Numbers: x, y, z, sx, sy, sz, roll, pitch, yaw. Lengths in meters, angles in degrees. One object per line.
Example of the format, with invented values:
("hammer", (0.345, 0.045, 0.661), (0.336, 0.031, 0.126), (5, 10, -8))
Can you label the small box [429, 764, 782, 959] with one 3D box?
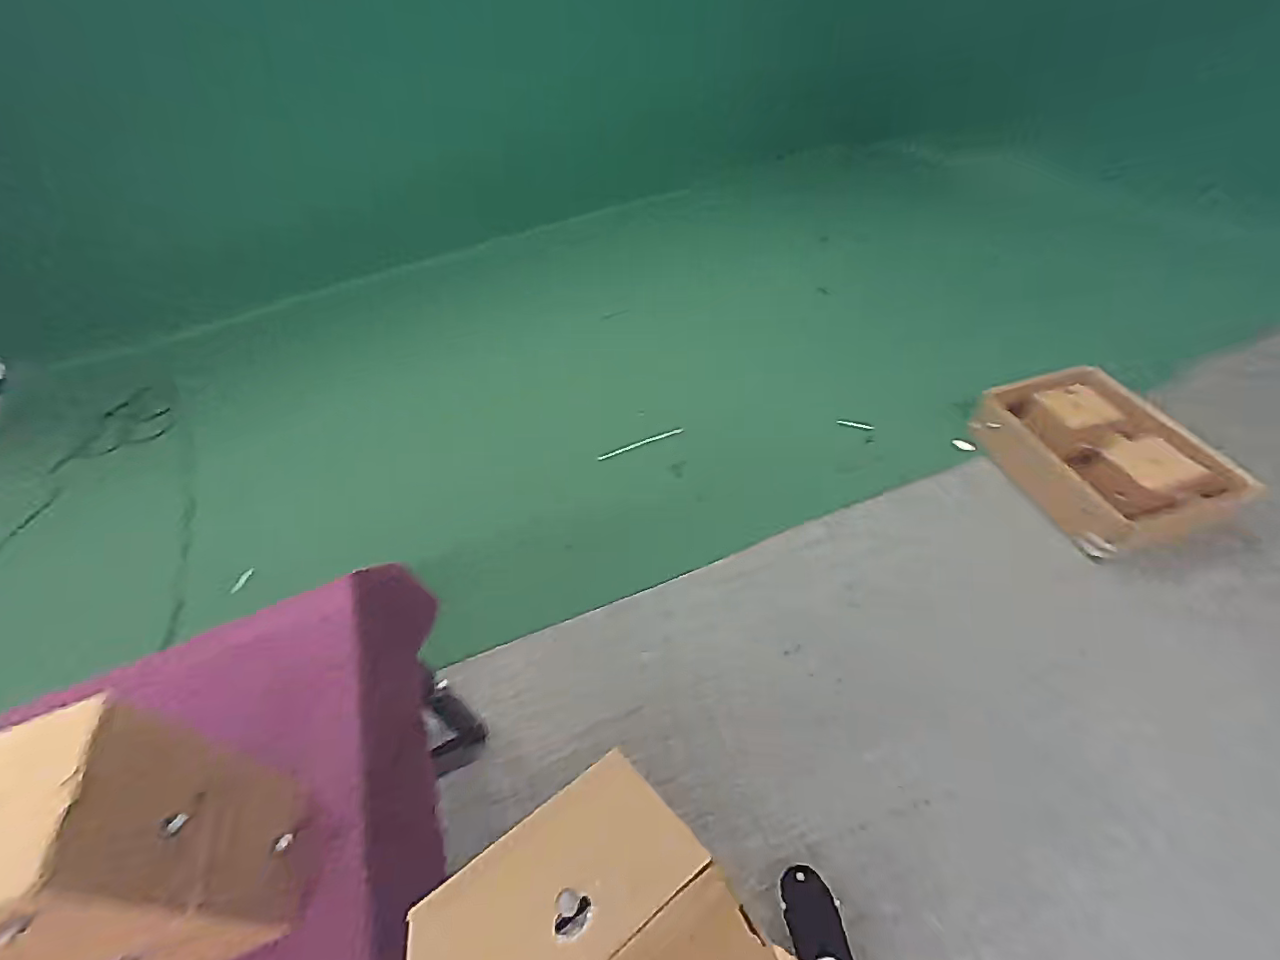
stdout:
("small box", (-0.015, 0.317, 0.331), (0.179, 0.168, 0.176), (-31, 5, -20))

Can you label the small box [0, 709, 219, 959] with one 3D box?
("small box", (-0.553, 0.354, 0.506), (0.179, 0.176, 0.168), (-21, 46, -8))
